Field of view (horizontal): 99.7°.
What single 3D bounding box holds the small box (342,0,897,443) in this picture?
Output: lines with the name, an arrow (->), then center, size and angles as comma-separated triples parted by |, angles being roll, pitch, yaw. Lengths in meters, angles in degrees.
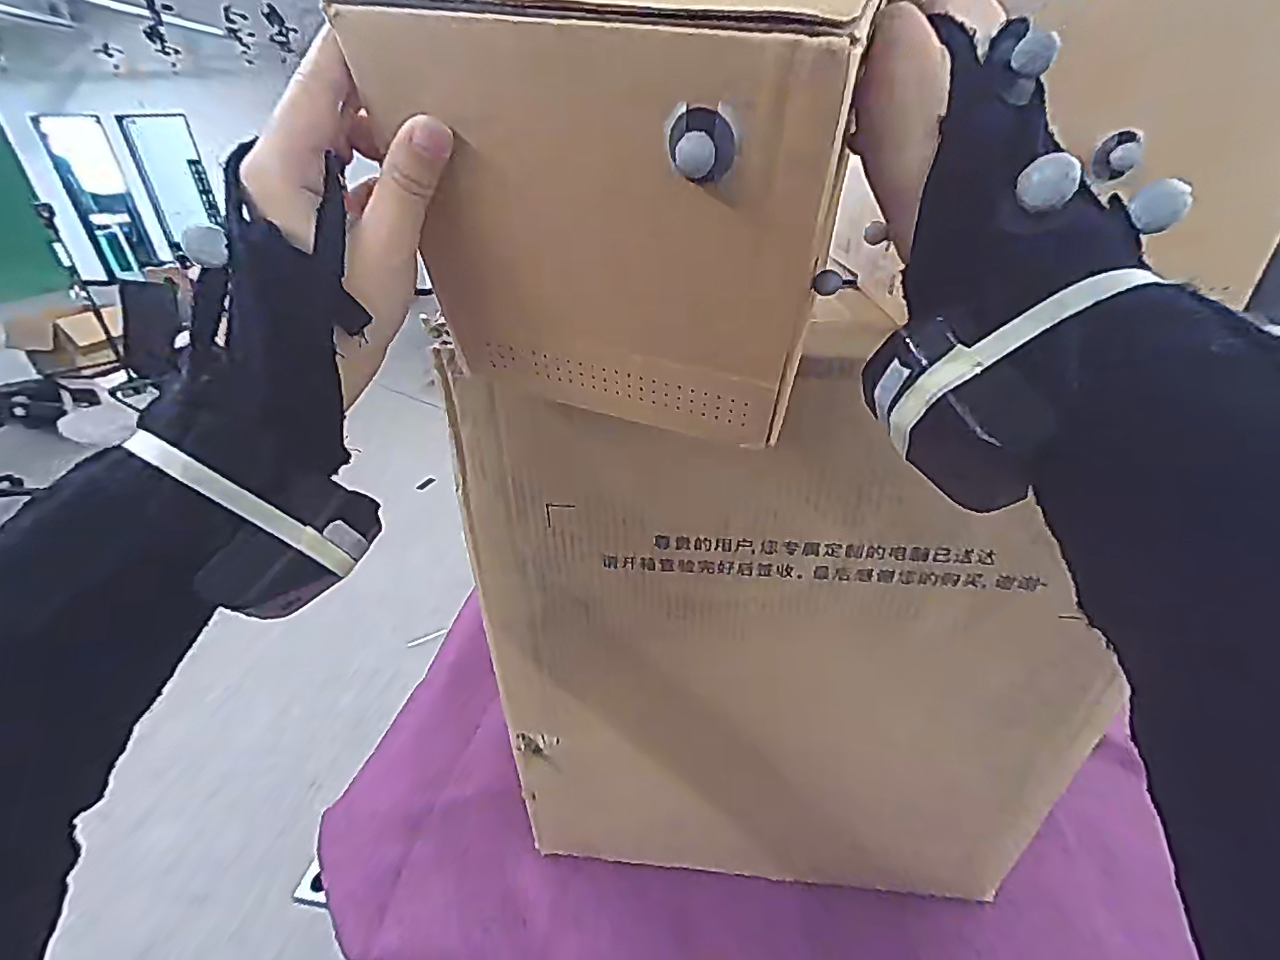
small box -> 0.009, -0.141, 0.268 | 0.179, 0.176, 0.168 | 15, 54, 13
